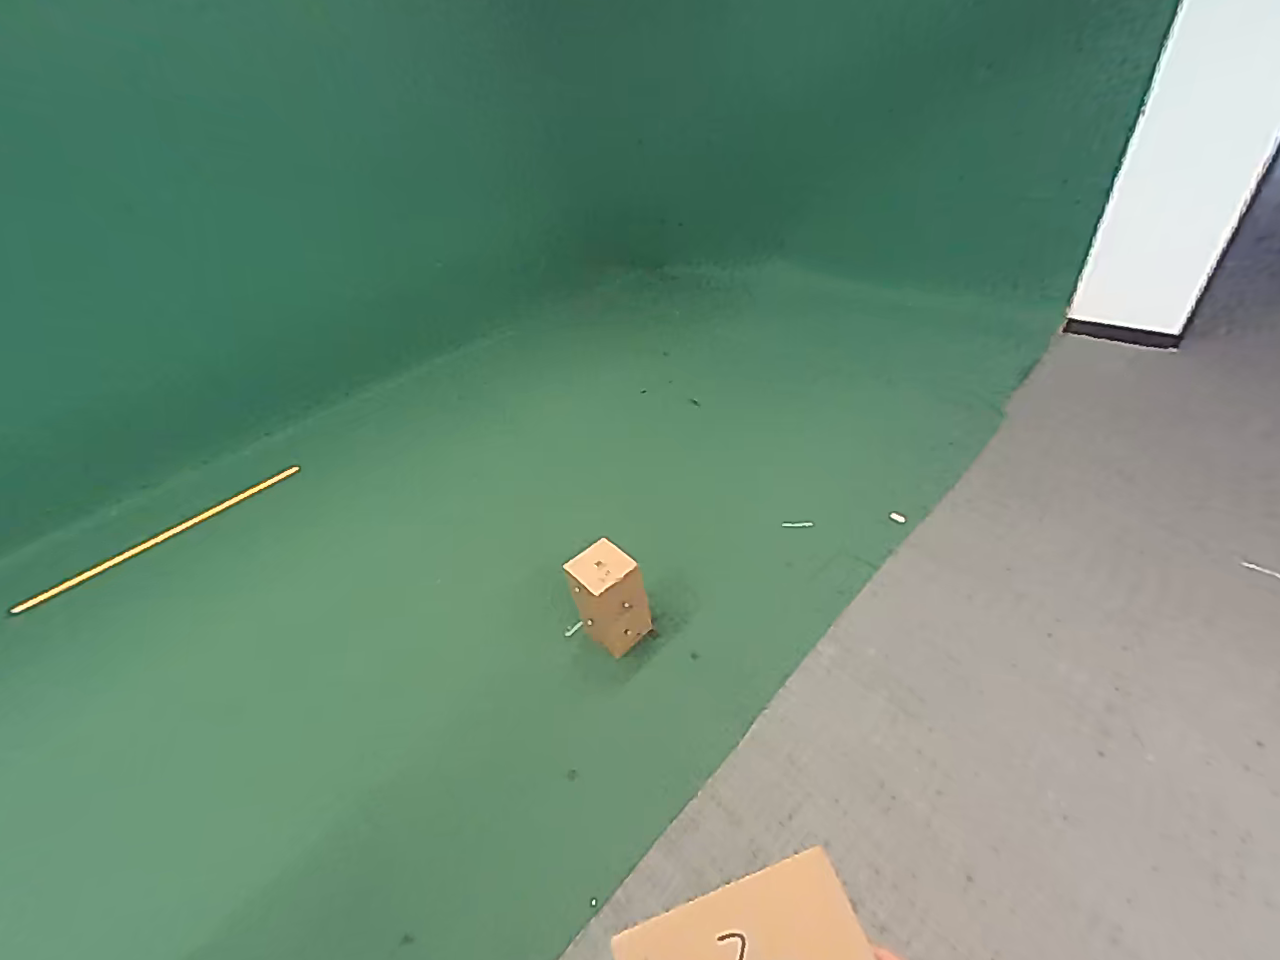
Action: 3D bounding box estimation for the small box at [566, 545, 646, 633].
[{"bbox_3d":[-0.103,0.343,1.689,0.168,0.176,0.179,-34,43,-26],"label":"small box"}]

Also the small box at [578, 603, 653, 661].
[{"bbox_3d":[-0.075,0.470,1.792,0.168,0.176,0.179,-35,43,-28],"label":"small box"}]
